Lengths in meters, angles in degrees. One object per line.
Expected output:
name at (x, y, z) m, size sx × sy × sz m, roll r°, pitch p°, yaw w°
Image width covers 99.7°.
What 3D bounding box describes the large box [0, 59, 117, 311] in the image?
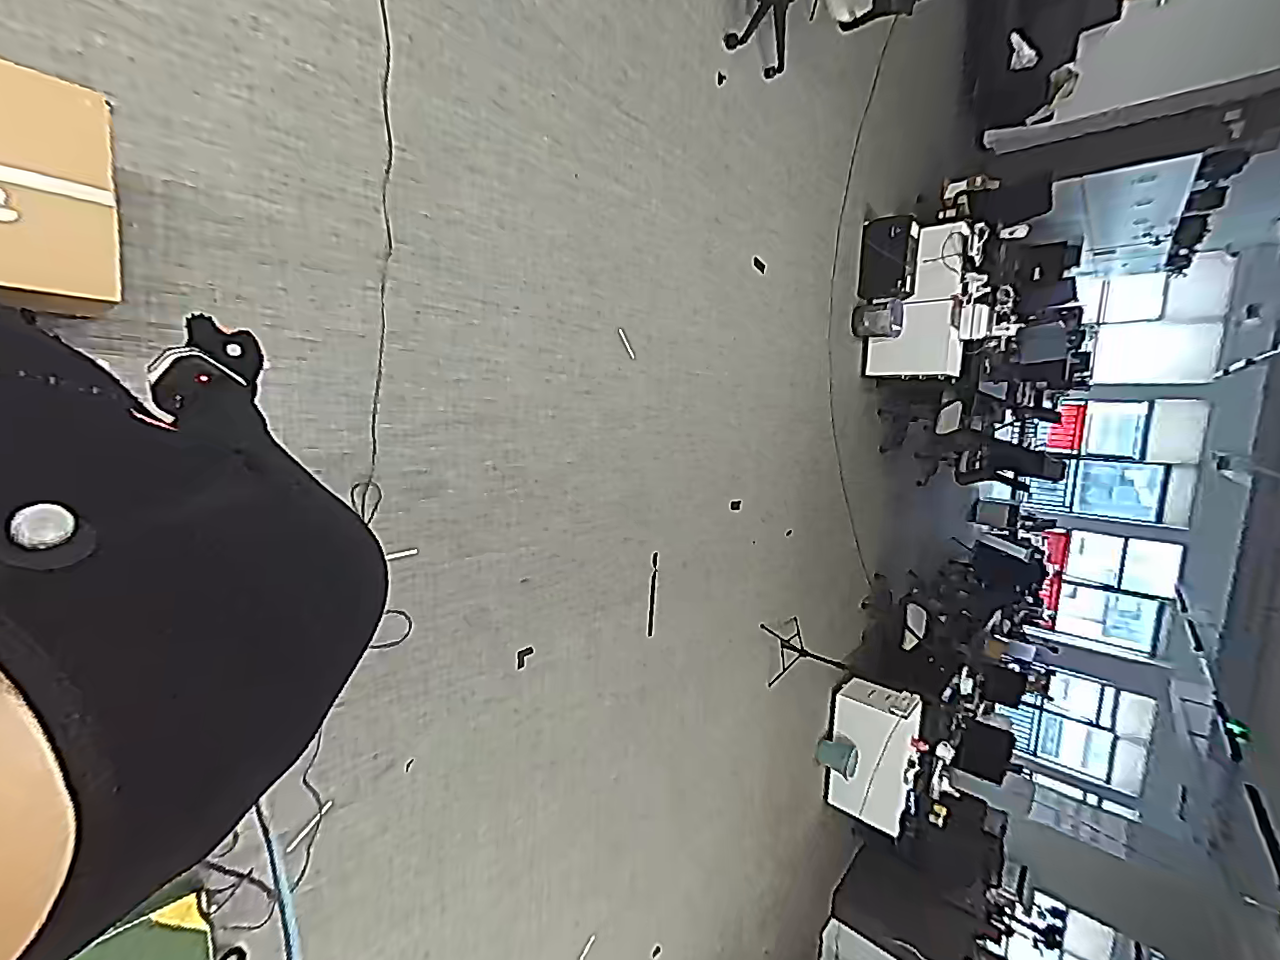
large box at (-1.085, -0.450, 0.799) m, size 0.408 × 0.320 × 0.320 m, roll -6°, pitch 101°, yaw -50°
